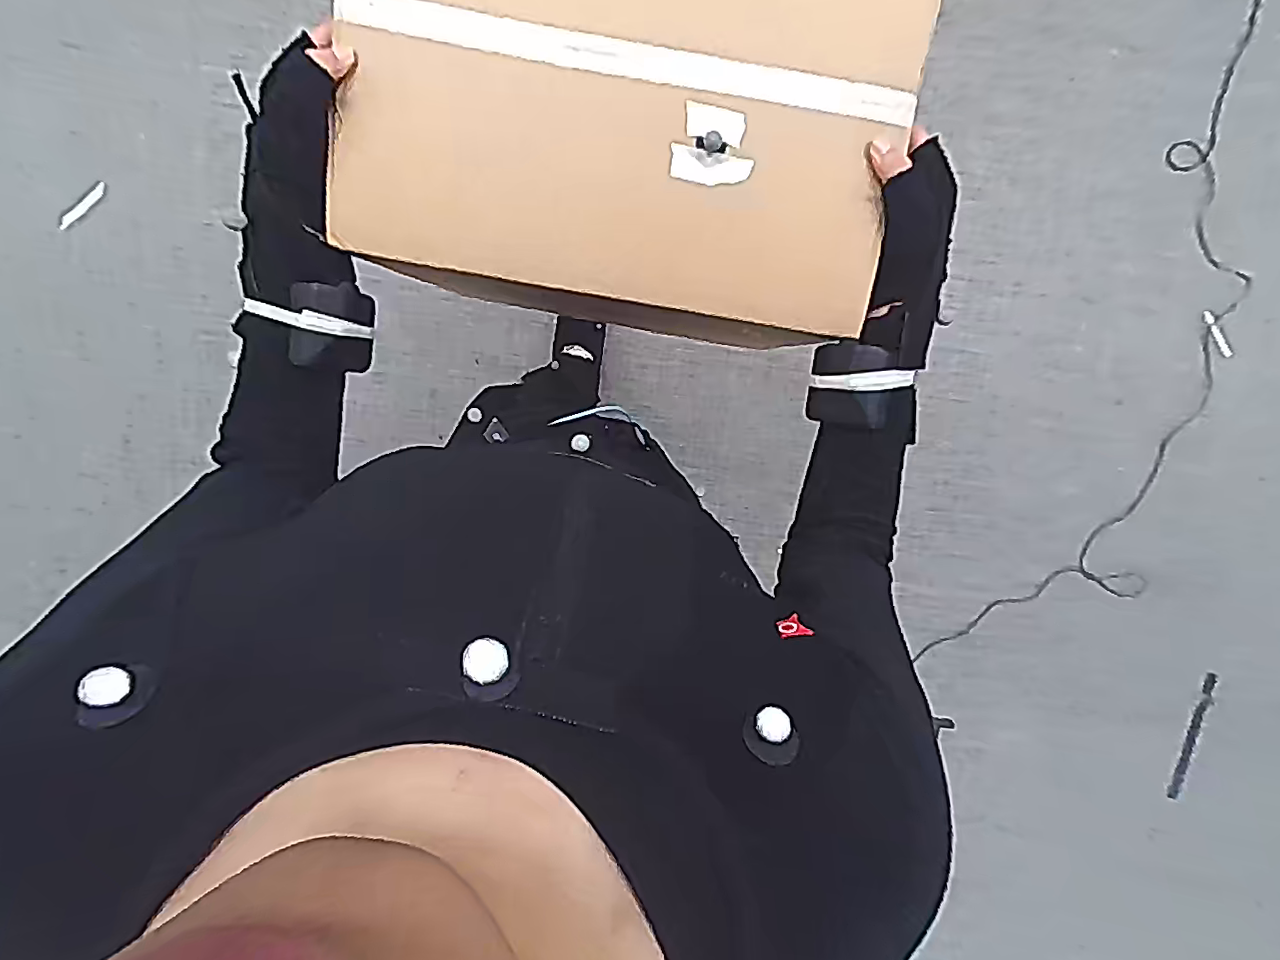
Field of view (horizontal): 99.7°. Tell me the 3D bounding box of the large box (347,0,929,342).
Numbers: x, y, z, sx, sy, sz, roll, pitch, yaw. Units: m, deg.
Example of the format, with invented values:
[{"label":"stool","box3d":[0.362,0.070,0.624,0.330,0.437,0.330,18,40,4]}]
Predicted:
[{"label":"large box","box3d":[-0.008,-0.325,0.531,0.408,0.320,0.320,9,103,-3]}]
